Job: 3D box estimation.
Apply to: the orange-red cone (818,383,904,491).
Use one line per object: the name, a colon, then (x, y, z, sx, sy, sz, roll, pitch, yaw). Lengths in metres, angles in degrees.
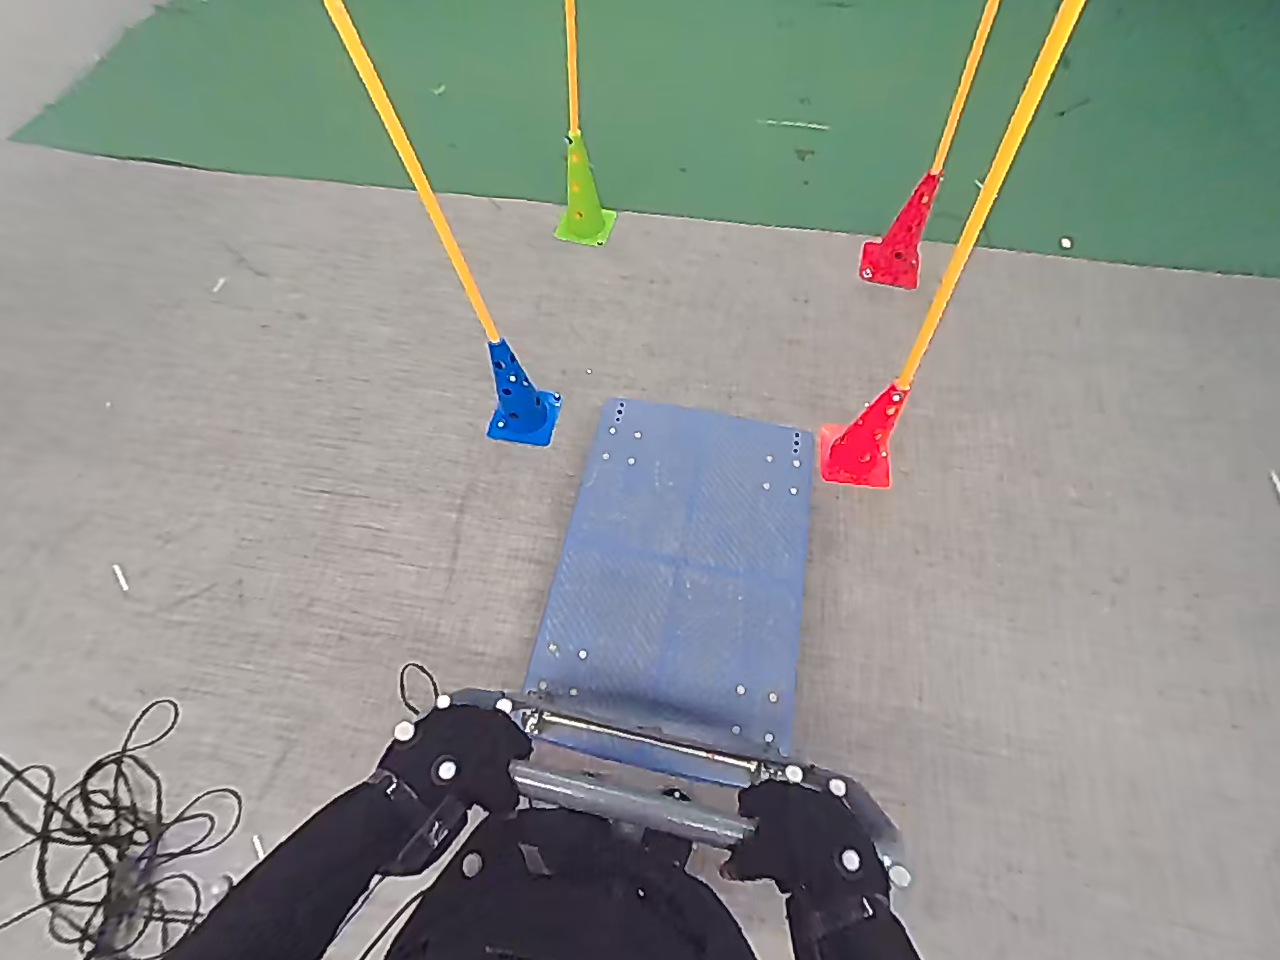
orange-red cone: (0.629, -0.141, 1.468, 0.199, 0.360, 0.198, 8, 63, 7)

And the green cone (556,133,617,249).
green cone: (-0.211, -1.048, 1.931, 0.202, 0.368, 0.200, 12, 64, 8)
